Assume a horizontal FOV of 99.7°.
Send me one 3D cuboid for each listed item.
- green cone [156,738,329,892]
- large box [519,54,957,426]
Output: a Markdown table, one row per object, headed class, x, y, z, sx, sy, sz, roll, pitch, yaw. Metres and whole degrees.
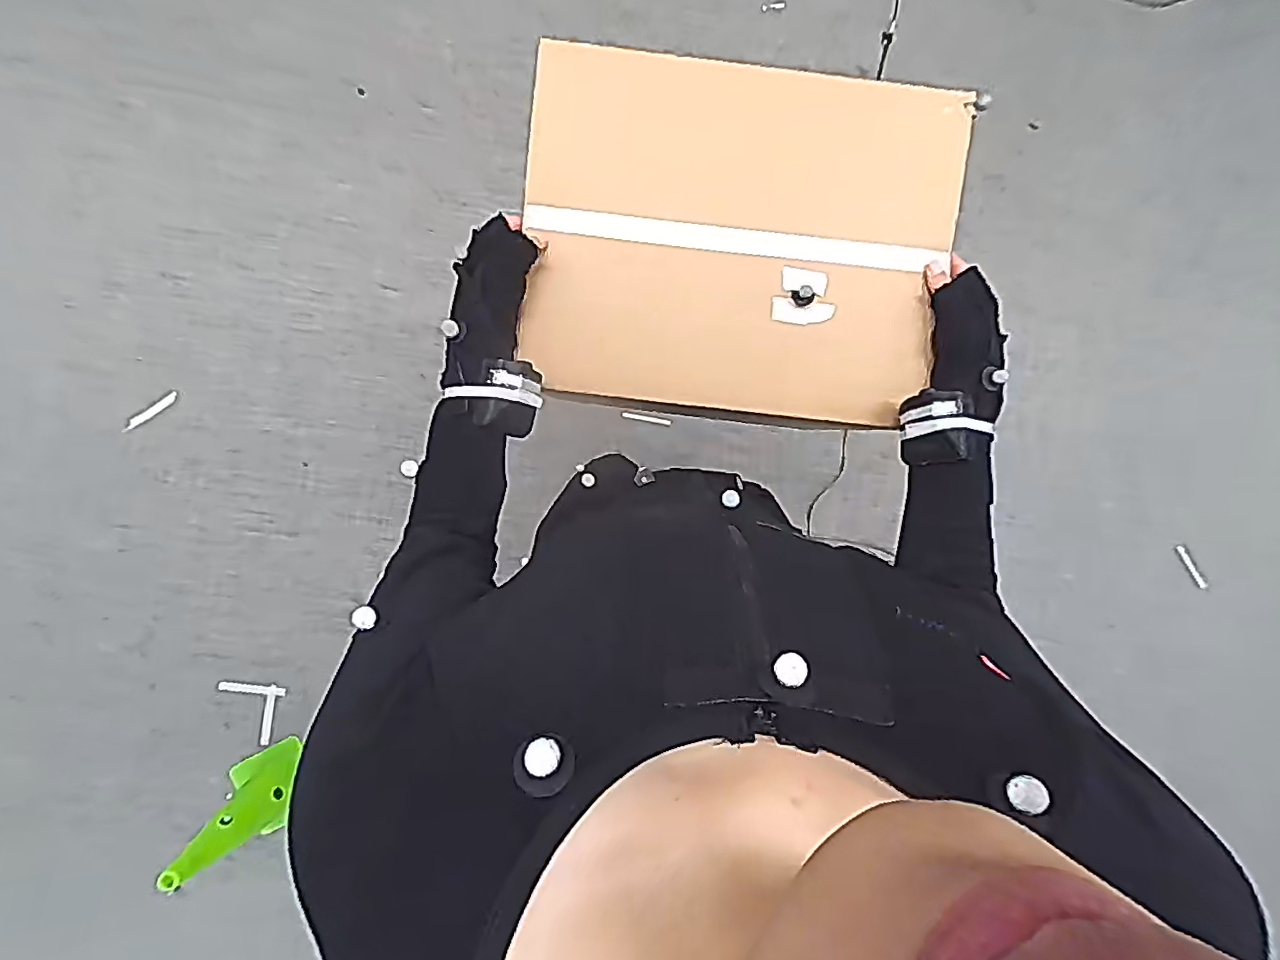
| class | x | y | z | sx | sy | sz | roll | pitch | yaw |
| --- | --- | --- | --- | --- | --- | --- | --- | --- | --- |
| green cone | -0.947 | 0.804 | 1.259 | 0.202 | 0.368 | 0.200 | -28 | 89 | -1 |
| large box | 0.087 | -0.240 | 0.666 | 0.408 | 0.320 | 0.320 | 6 | 95 | -2 |
